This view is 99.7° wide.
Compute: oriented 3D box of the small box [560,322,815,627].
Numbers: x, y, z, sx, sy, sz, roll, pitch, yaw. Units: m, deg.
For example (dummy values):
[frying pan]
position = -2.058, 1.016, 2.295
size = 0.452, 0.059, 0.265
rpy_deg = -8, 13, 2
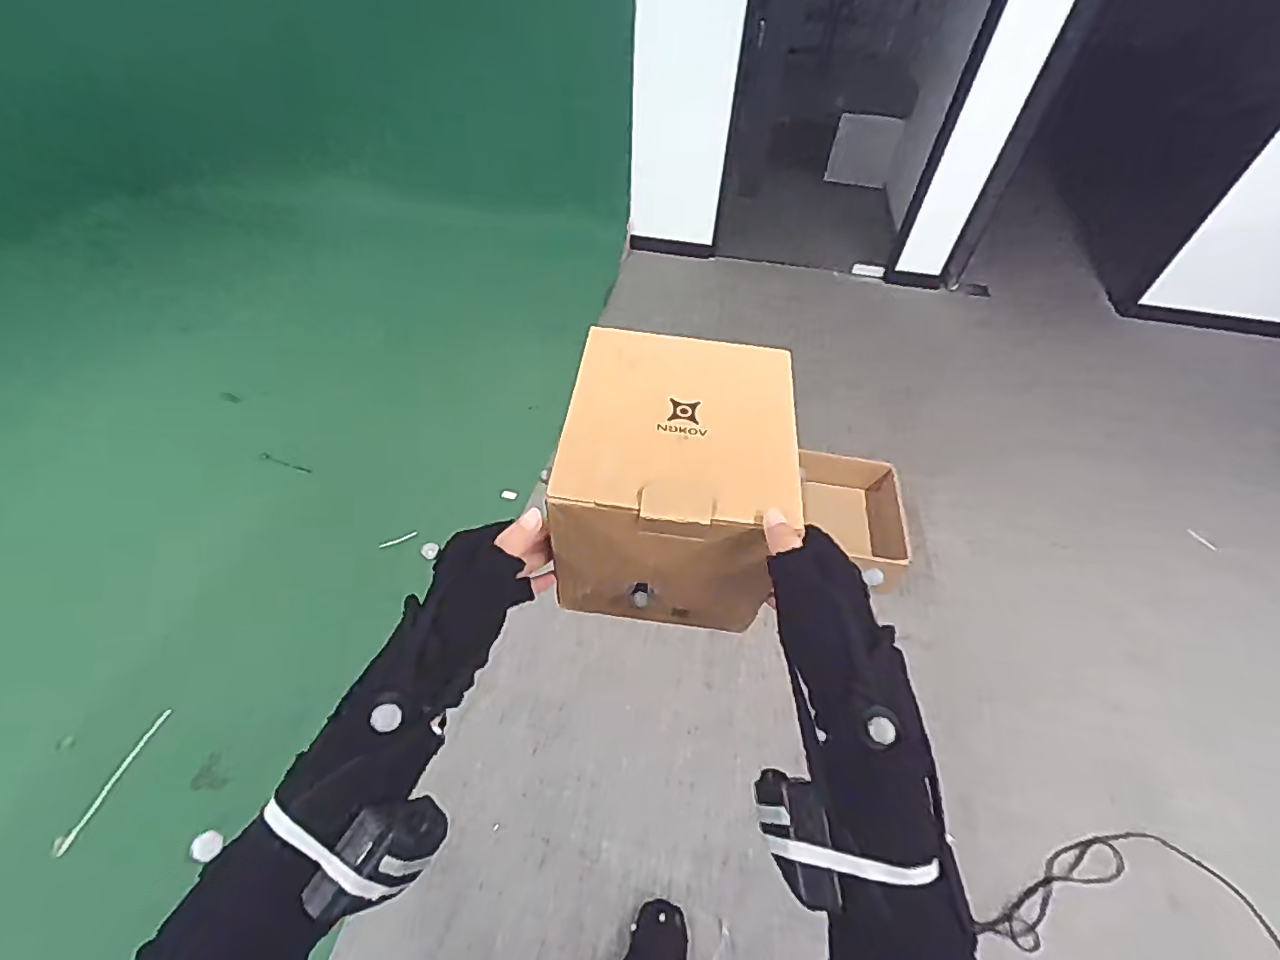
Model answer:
[small box]
position = 0.033, 0.000, 0.450
size = 0.168, 0.176, 0.179
rpy_deg = 8, 55, 1
